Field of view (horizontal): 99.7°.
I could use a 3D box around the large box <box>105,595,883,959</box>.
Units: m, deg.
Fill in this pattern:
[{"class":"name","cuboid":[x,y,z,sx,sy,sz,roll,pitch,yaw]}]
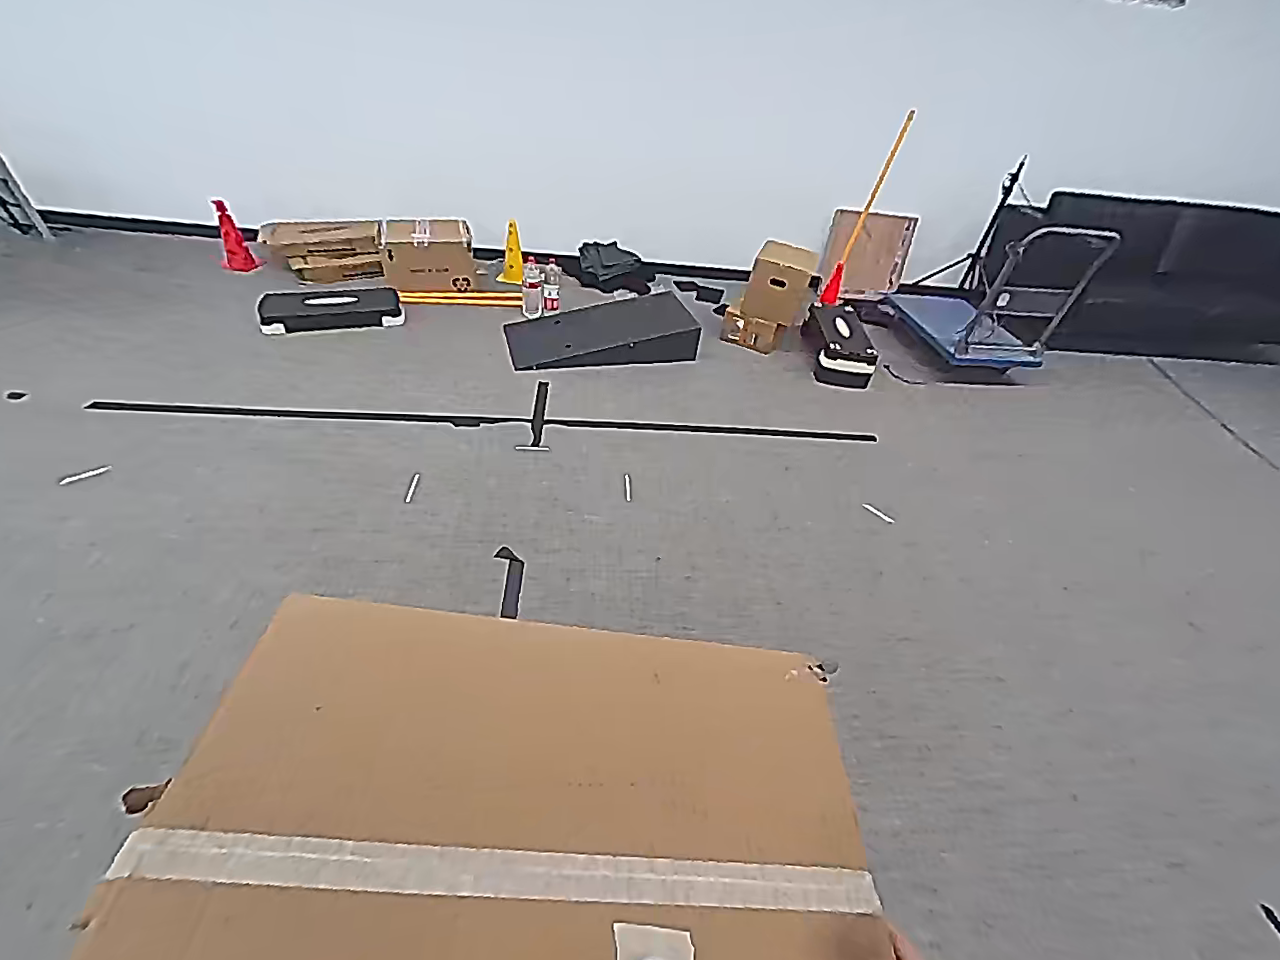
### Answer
[{"class":"large box","cuboid":[-0.086,0.324,0.413,0.408,0.320,0.320,10,43,-8]}]
